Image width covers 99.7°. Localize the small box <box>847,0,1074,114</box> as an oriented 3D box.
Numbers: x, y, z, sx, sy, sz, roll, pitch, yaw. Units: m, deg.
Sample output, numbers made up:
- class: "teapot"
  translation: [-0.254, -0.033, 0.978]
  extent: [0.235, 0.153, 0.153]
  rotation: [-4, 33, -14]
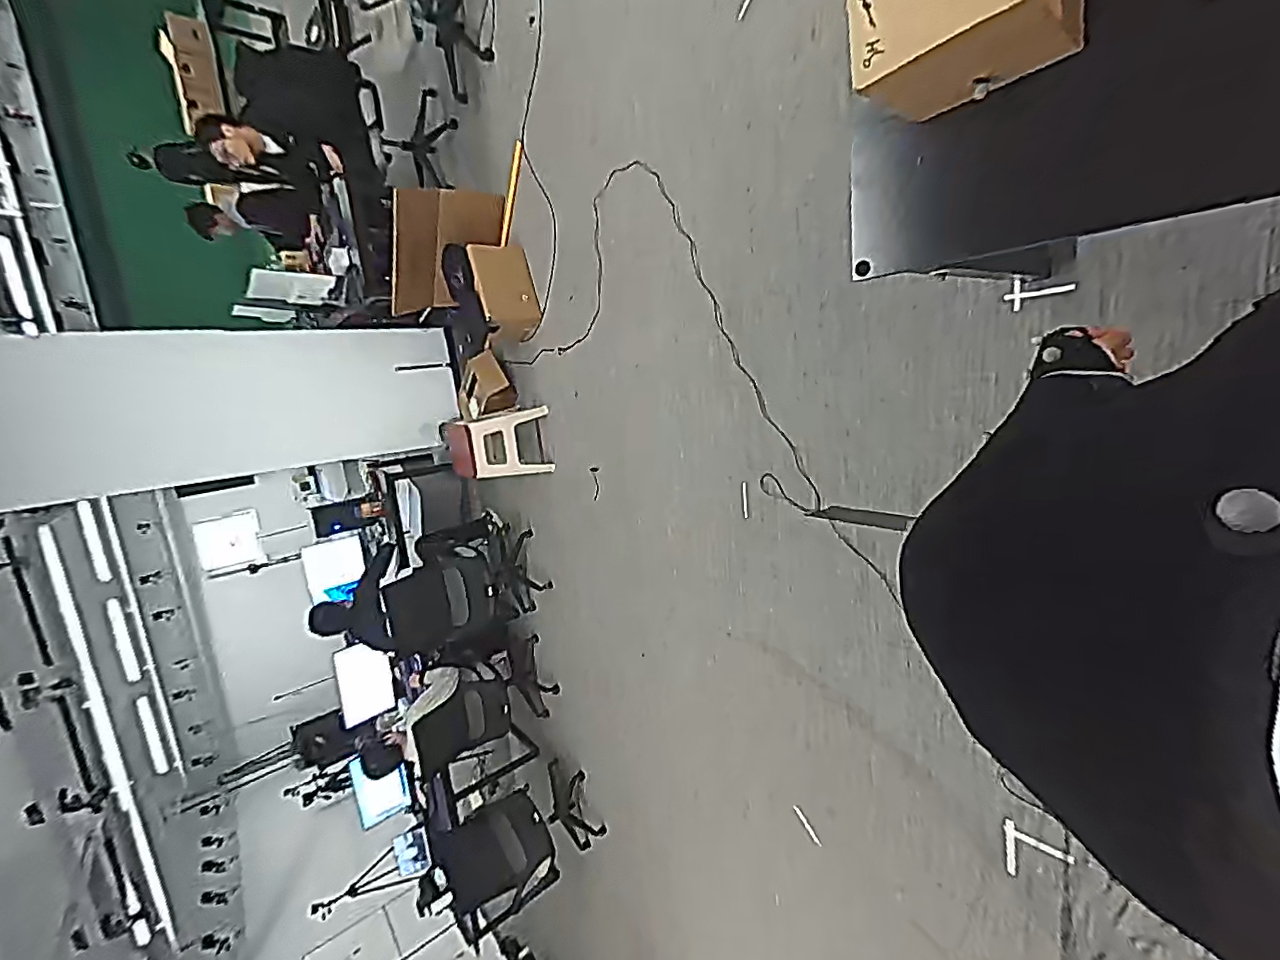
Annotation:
- class: "small box"
  translation: [0.344, -0.532, 0.579]
  extent: [0.179, 0.176, 0.168]
  rotation: [4, 104, 50]
